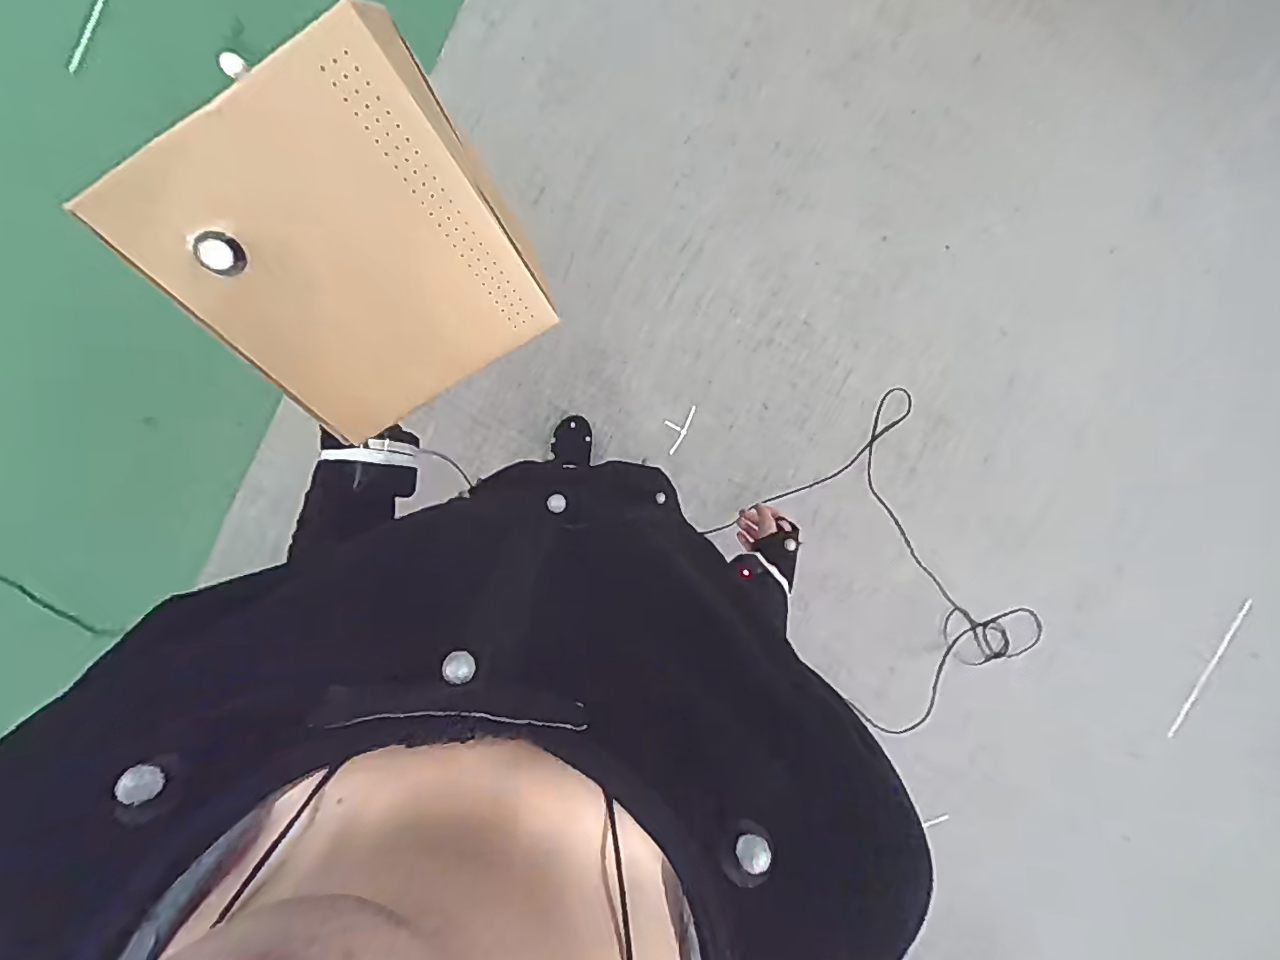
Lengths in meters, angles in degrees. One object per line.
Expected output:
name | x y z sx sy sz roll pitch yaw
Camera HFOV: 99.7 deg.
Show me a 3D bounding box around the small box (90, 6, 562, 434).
small box | -0.175 -0.171 0.360 0.176 0.168 0.179 -29 132 8
